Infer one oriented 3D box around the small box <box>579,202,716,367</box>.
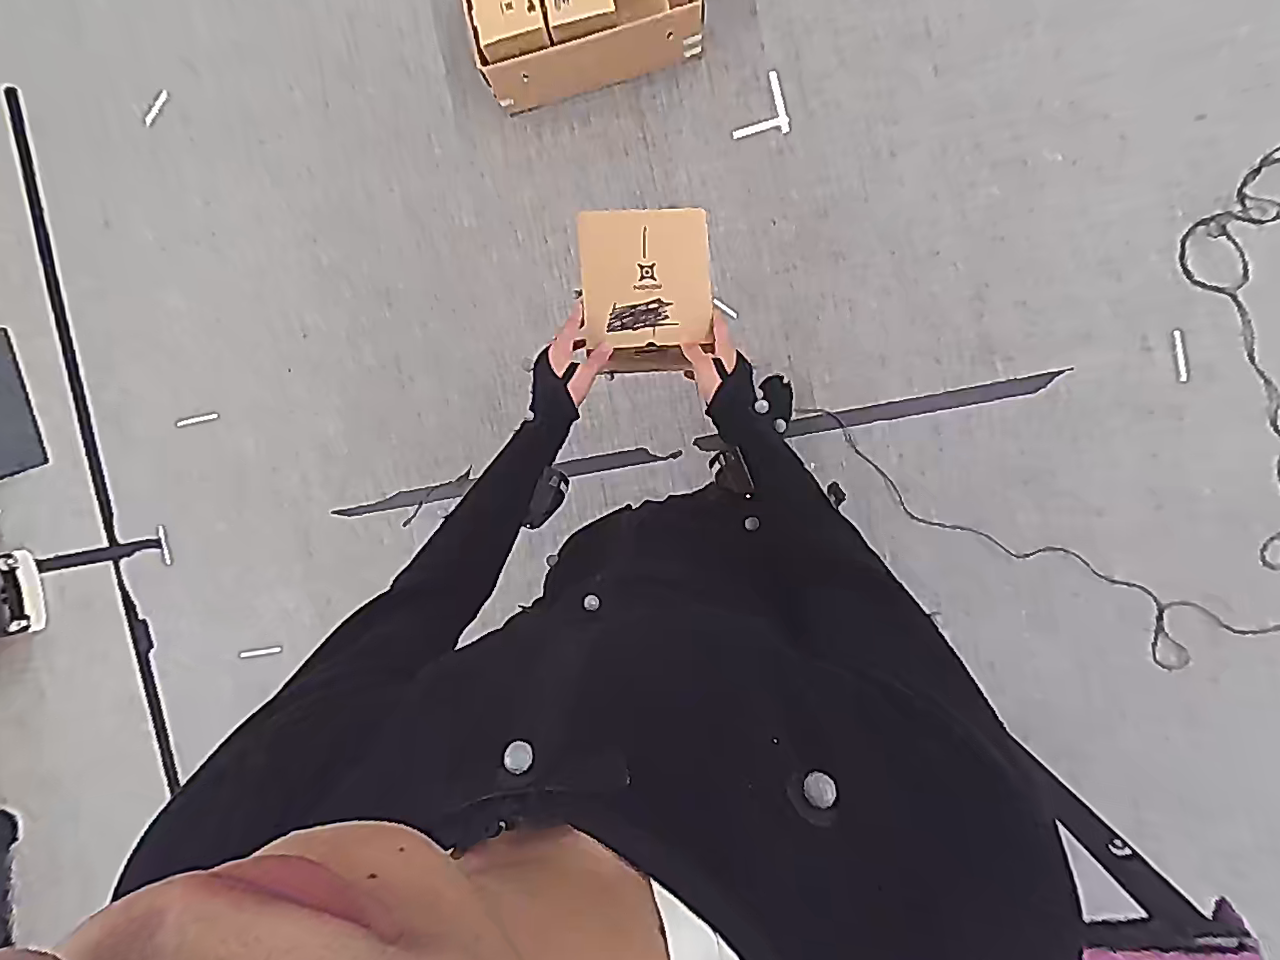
[{"bbox_3d":[0.006,-0.256,0.749,0.168,0.176,0.179,-4,91,-4],"label":"small box"}]
